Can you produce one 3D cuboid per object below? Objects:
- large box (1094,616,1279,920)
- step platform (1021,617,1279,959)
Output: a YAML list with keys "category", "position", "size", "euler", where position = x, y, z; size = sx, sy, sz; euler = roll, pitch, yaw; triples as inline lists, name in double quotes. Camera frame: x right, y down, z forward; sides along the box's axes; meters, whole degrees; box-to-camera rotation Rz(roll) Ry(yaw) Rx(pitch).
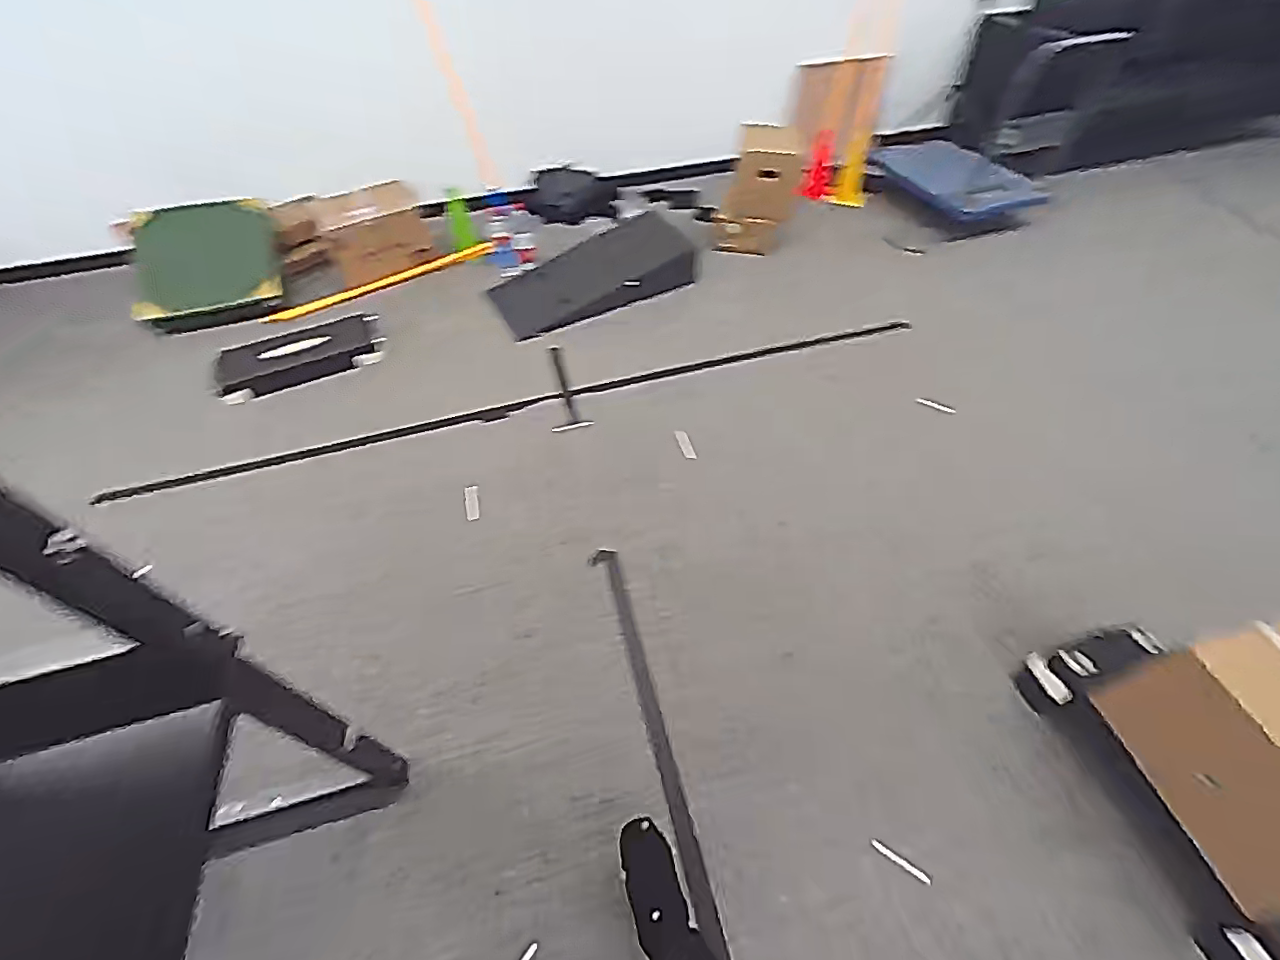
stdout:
- category: "large box"
  position: [1.198, 0.511, 0.994]
  size: [0.320, 0.320, 0.408]
  euler: [-10, 48, -6]
- category: "step platform"
  position: [1.198, 0.649, 1.191]
  size: [0.286, 0.204, 0.684]
  euler: [-9, 48, -5]
